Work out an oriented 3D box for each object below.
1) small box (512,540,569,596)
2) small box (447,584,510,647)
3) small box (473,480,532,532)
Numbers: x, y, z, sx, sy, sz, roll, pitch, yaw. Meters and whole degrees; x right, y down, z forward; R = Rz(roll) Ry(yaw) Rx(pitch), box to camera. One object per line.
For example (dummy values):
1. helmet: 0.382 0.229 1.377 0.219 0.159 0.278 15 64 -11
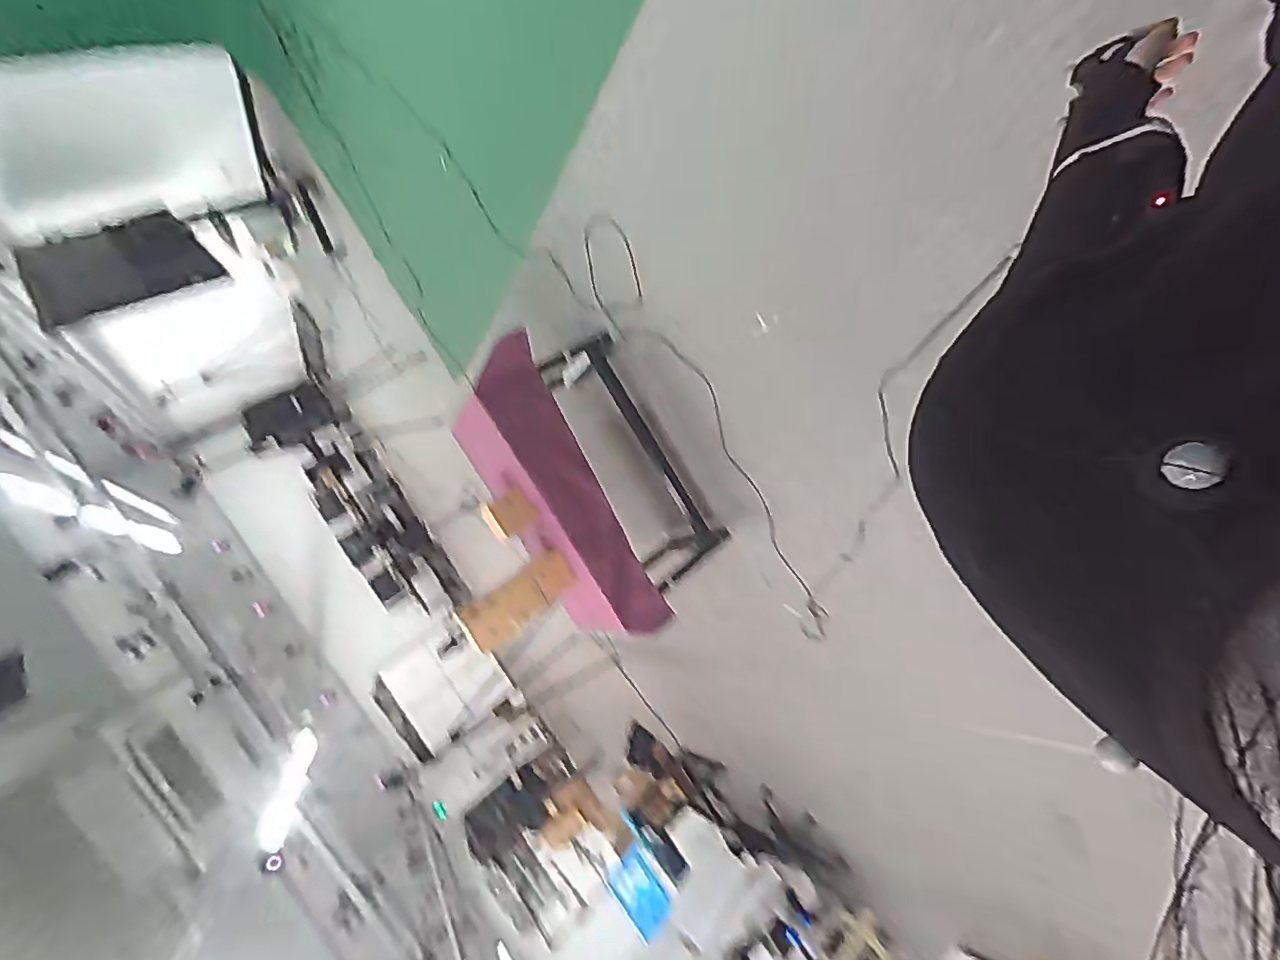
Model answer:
1. small box: -0.447 0.398 2.452 0.168 0.176 0.179 -1 118 56
2. small box: -0.686 0.571 2.305 0.168 0.176 0.179 10 128 53
3. small box: -0.610 0.111 2.403 0.179 0.176 0.168 60 151 -8
